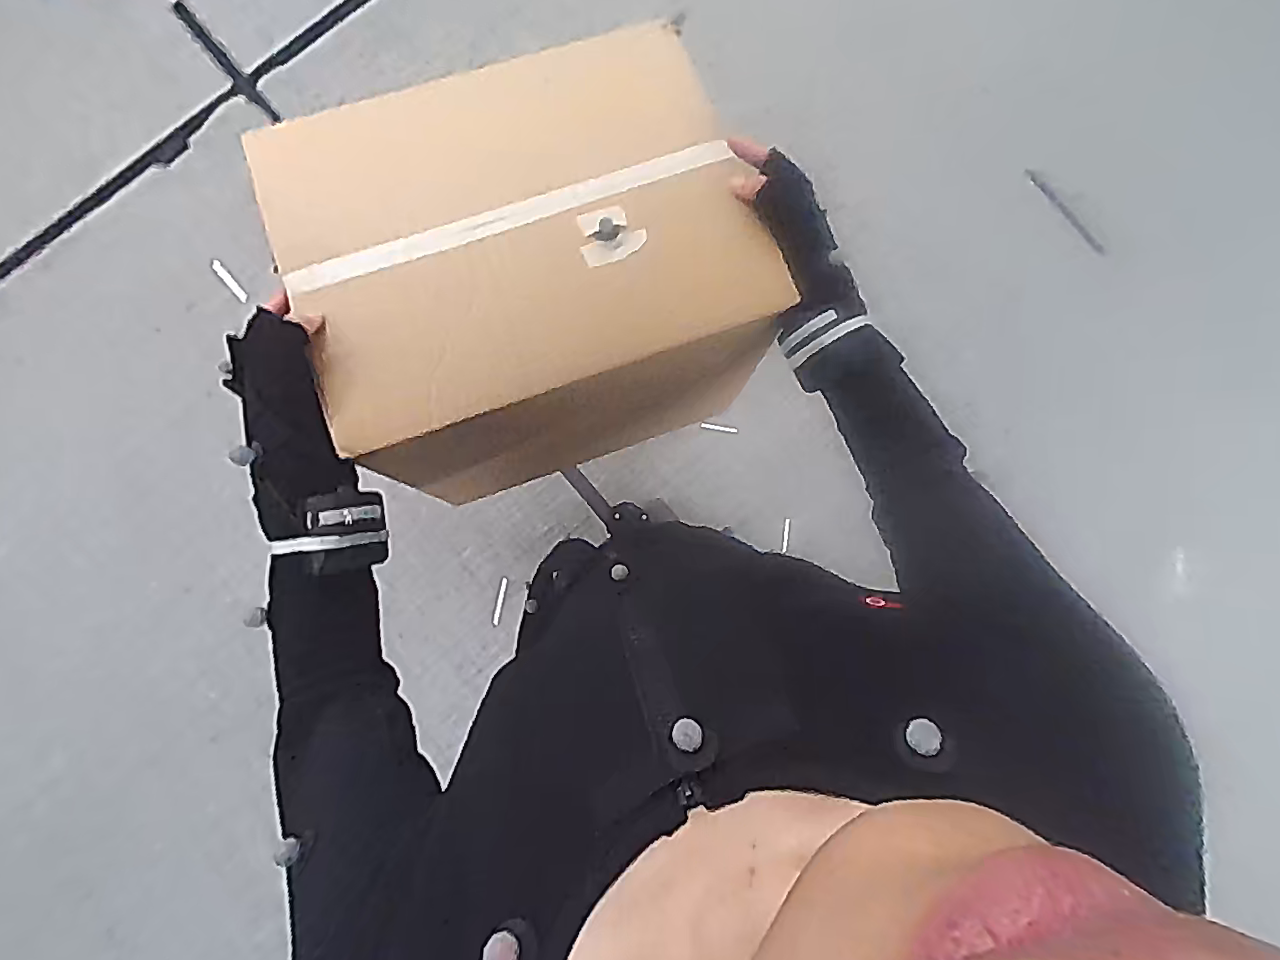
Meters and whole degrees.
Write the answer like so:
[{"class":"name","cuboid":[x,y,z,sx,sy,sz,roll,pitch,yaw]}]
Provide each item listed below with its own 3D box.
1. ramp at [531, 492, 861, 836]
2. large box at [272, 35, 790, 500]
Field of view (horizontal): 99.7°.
[{"class":"ramp","cuboid":[0.196,0.554,1.578,0.509,0.206,0.991,-43,90,-6]},{"class":"large box","cuboid":[-0.108,-0.205,0.634,0.408,0.320,0.320,-20,81,-6]}]
